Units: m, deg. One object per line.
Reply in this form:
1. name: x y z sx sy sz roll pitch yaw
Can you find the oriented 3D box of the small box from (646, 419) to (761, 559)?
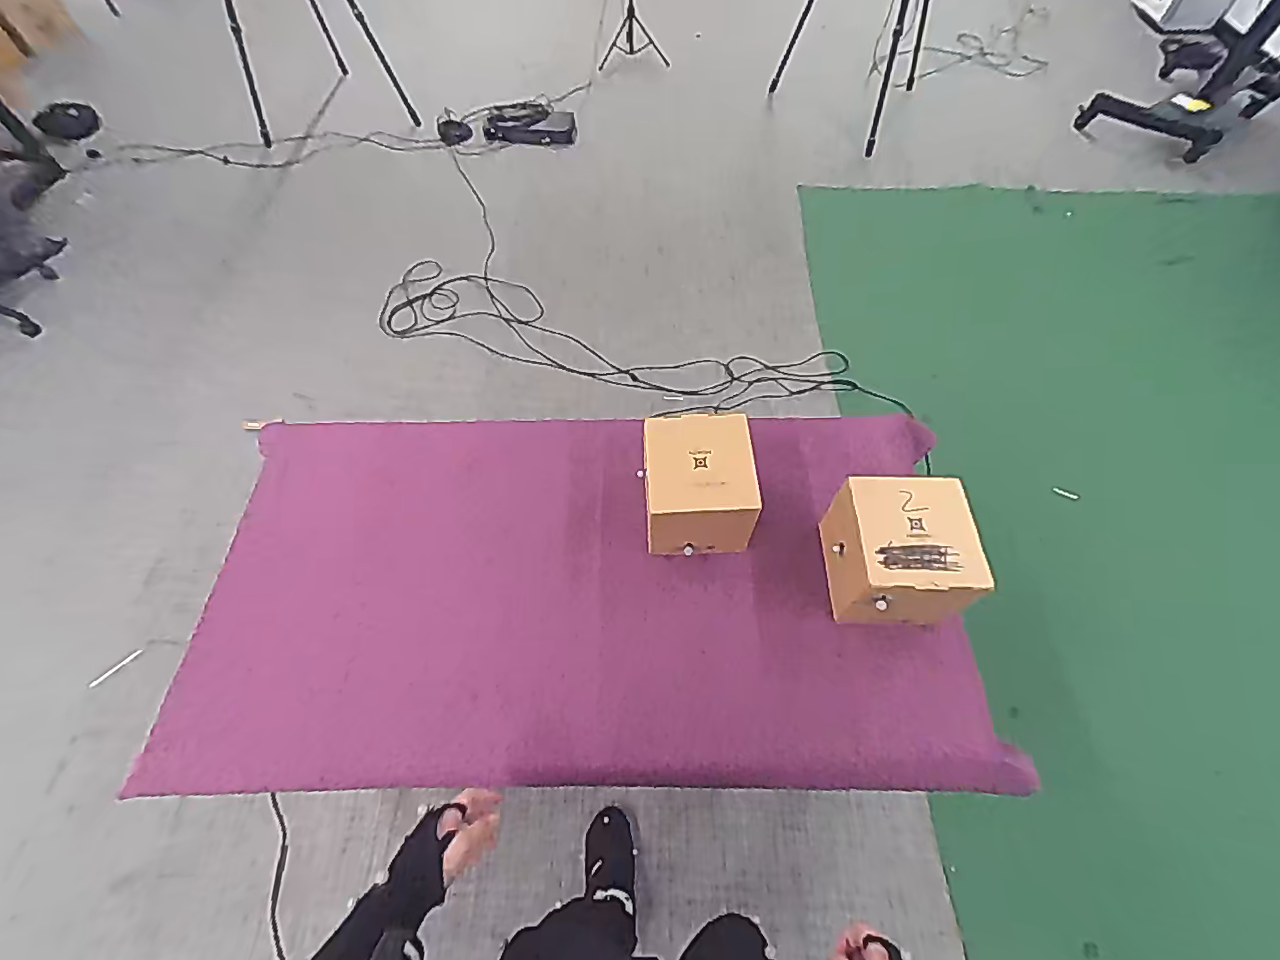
1. small box: 0.094 0.018 0.894 0.168 0.176 0.179 -2 60 0
